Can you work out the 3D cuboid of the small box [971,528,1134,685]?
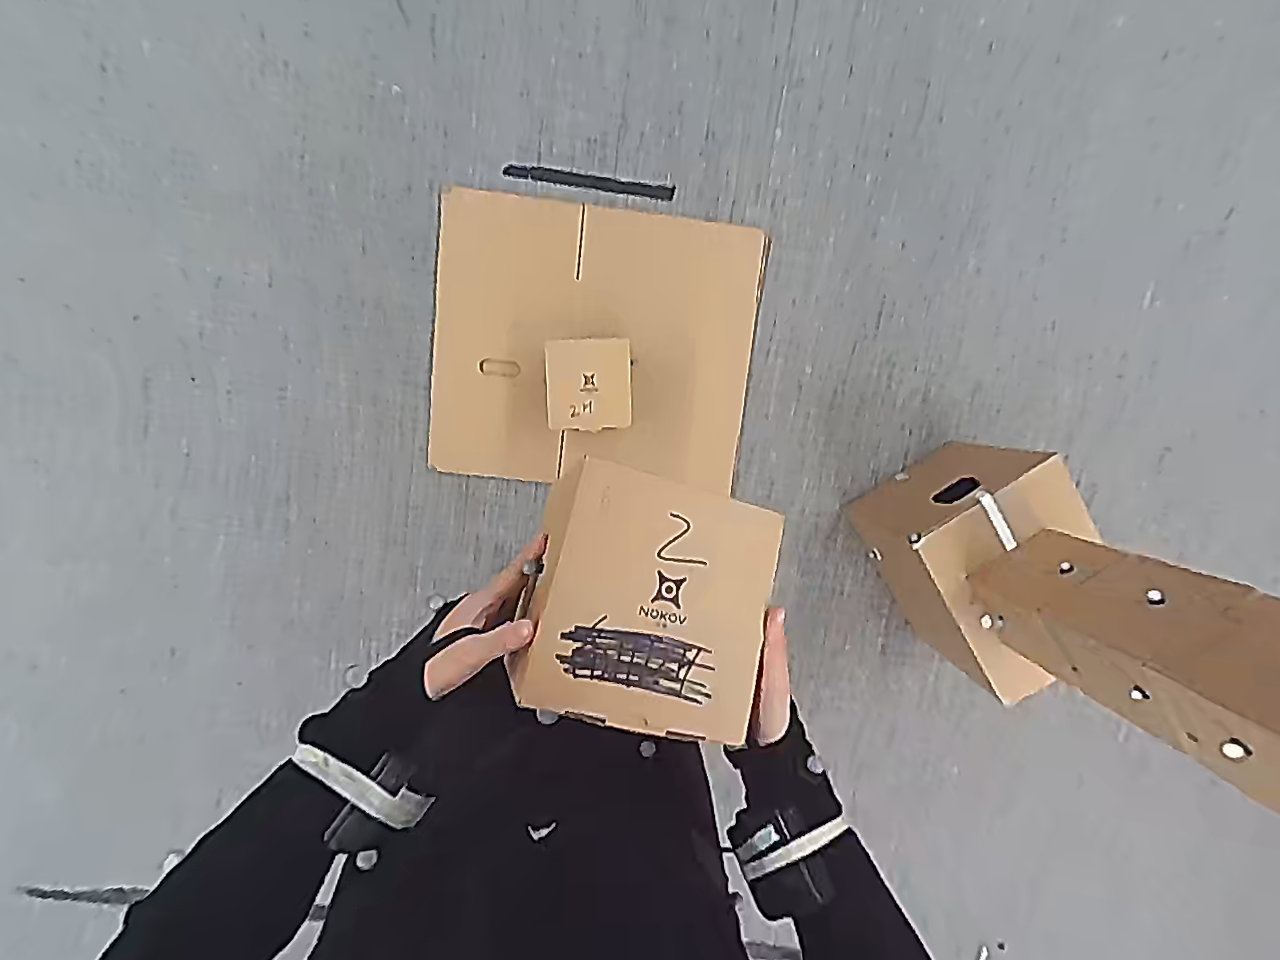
[{"bbox_3d":[0.723,0.204,0.928,0.179,0.176,0.168,-33,99,3],"label":"small box"}]

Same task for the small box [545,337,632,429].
[{"bbox_3d":[-0.101,-0.198,1.124,0.168,0.176,0.179,-2,99,0],"label":"small box"}]

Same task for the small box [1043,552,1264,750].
[{"bbox_3d":[0.735,0.227,0.765,0.179,0.176,0.168,-33,99,1],"label":"small box"}]

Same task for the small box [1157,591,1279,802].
[{"bbox_3d":[0.744,0.255,0.605,0.179,0.176,0.168,-34,99,2],"label":"small box"}]
